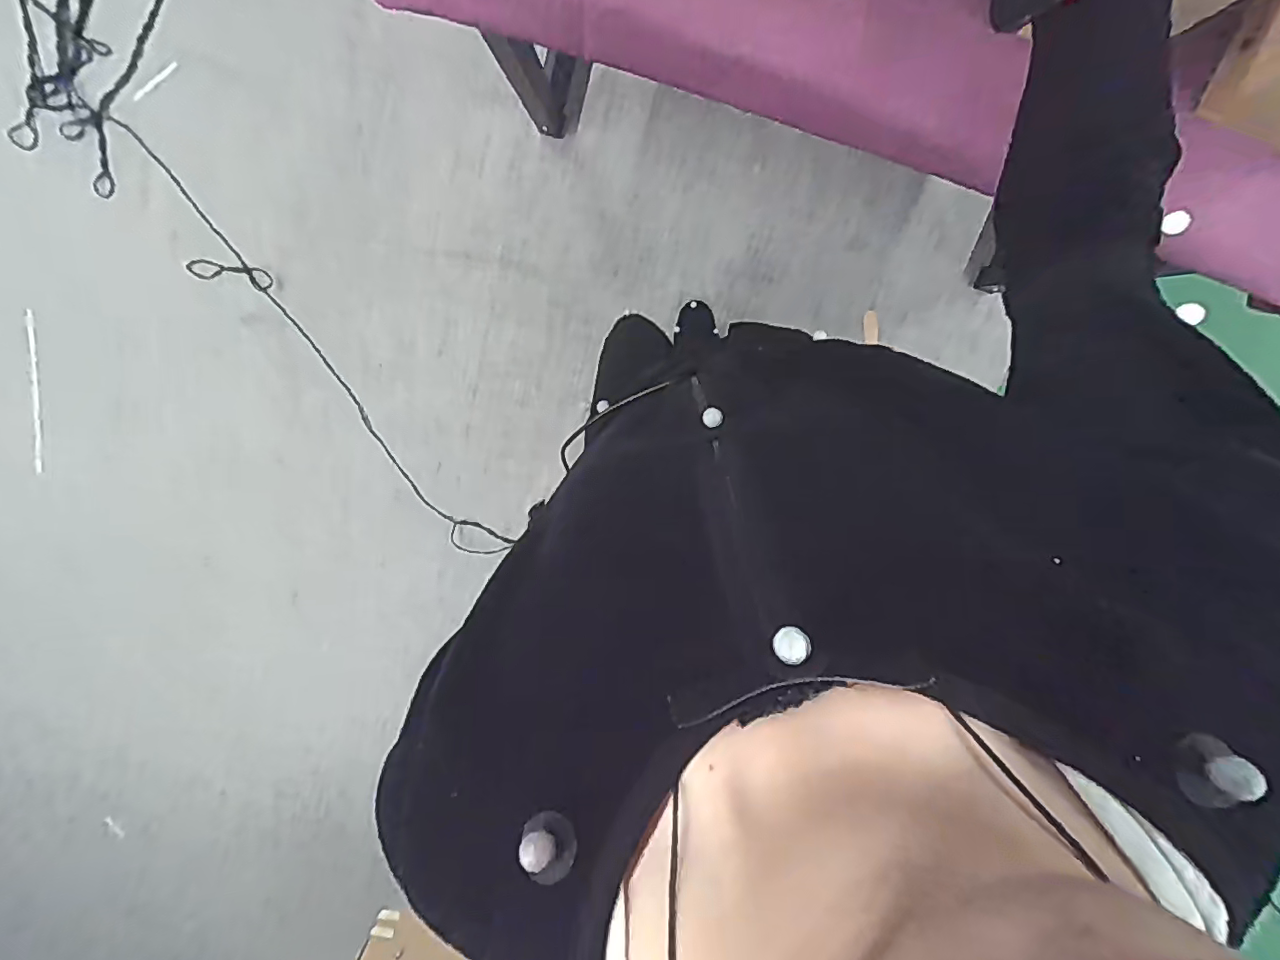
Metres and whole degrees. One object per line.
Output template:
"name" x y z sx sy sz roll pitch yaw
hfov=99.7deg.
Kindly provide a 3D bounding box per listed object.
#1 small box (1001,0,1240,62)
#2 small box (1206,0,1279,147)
"small box" 0.487 -0.545 0.505 0.168 0.176 0.179 13 106 -2
"small box" 0.739 -0.445 0.526 0.179 0.176 0.168 19 105 -4
